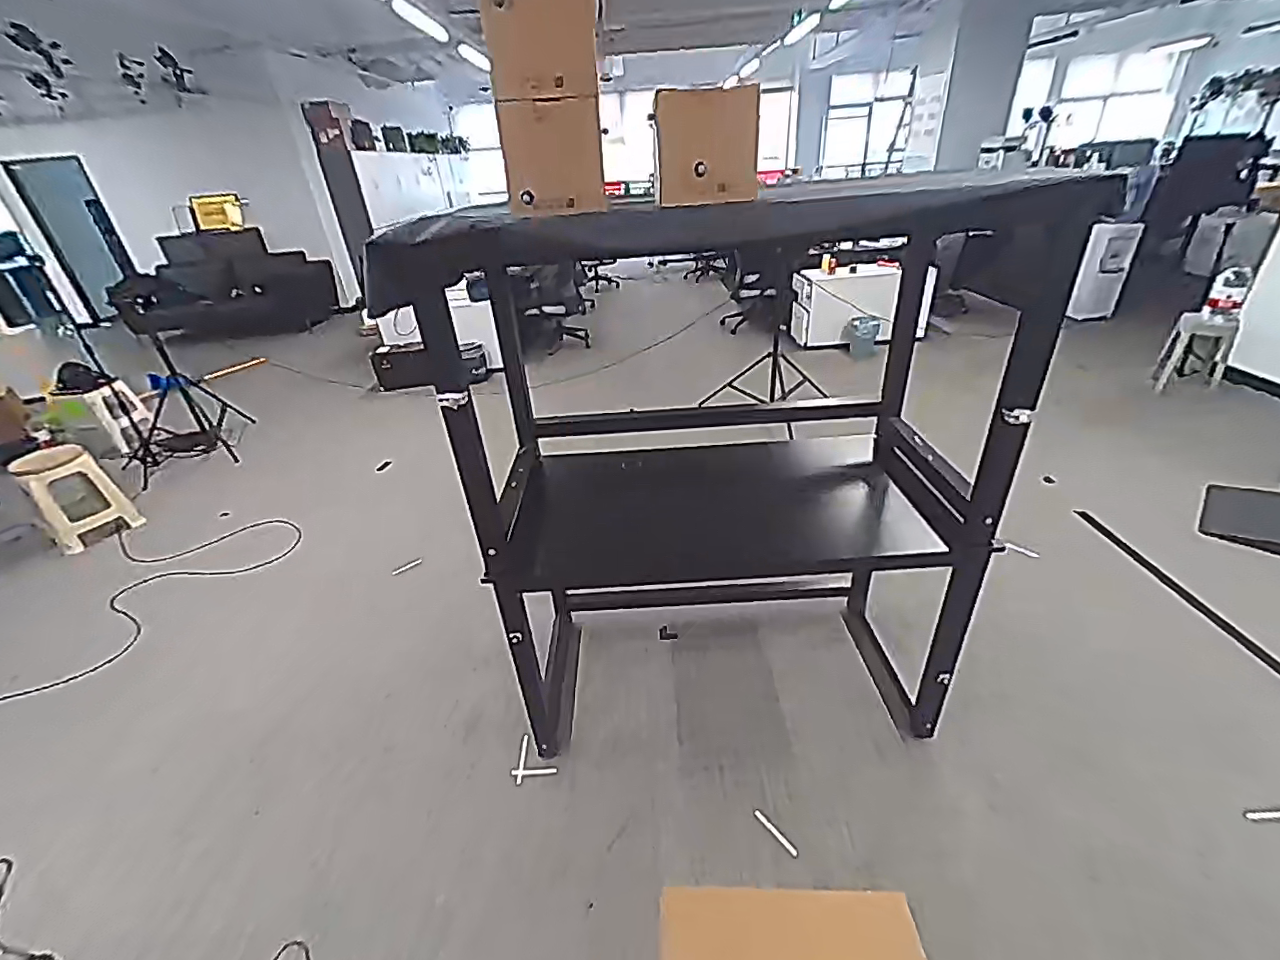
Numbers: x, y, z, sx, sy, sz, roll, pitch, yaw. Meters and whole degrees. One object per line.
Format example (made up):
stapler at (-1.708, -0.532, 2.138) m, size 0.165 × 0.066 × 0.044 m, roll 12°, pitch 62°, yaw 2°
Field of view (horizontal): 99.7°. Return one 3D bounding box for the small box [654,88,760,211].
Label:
small box at (0.110, -0.572, 0.954) m, size 0.168 × 0.176 × 0.179 m, roll -4°, pitch 29°, yaw 1°

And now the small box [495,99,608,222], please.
small box at (-0.145, -0.553, 0.953) m, size 0.168 × 0.176 × 0.179 m, roll -4°, pitch 28°, yaw -1°
